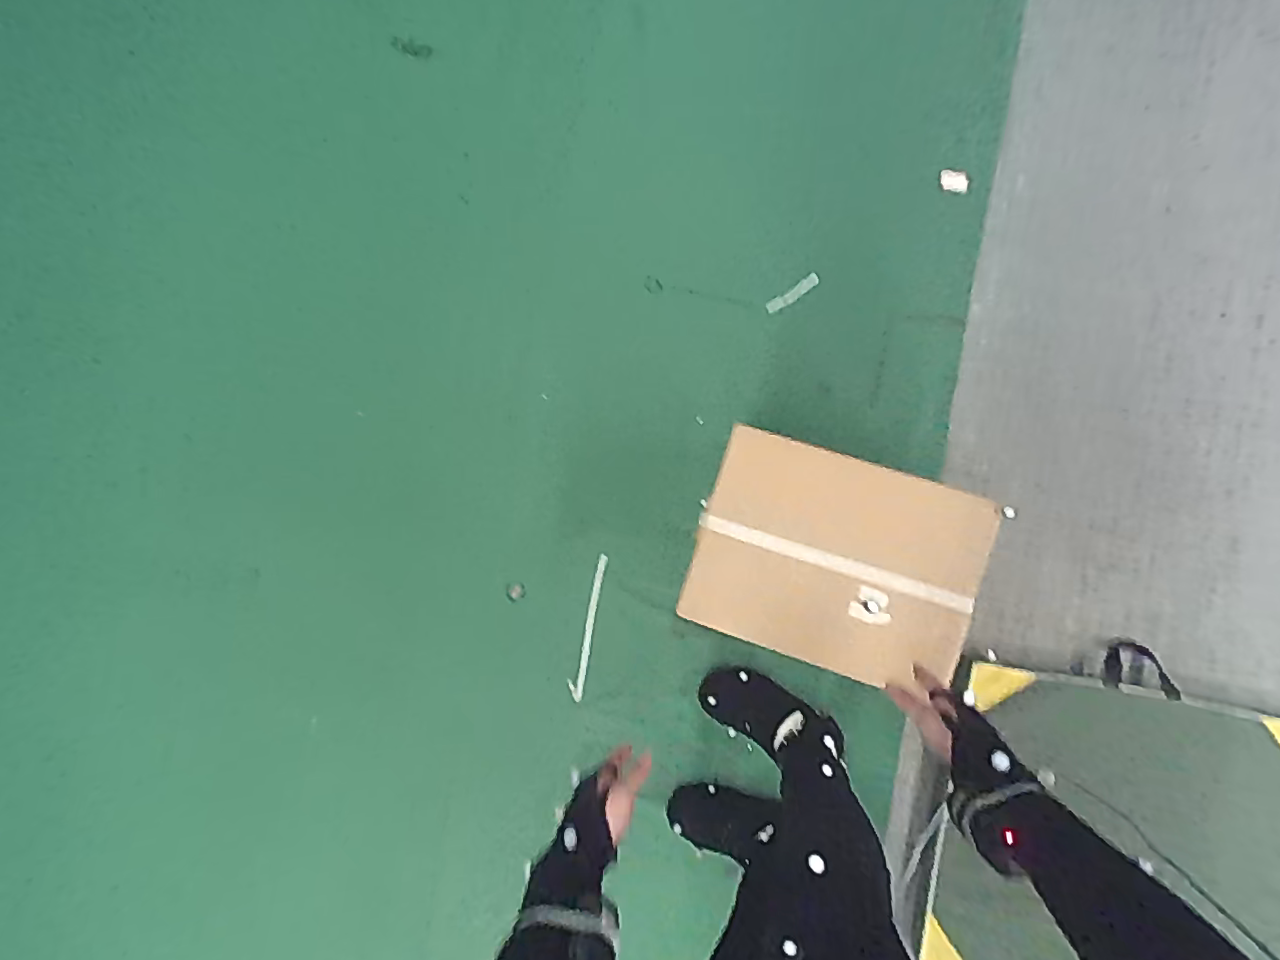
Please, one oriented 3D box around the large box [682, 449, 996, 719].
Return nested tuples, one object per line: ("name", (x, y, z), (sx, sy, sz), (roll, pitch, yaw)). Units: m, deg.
("large box", (0.312, 0.161, 0.967), (0.408, 0.320, 0.320), (18, 89, 8))
